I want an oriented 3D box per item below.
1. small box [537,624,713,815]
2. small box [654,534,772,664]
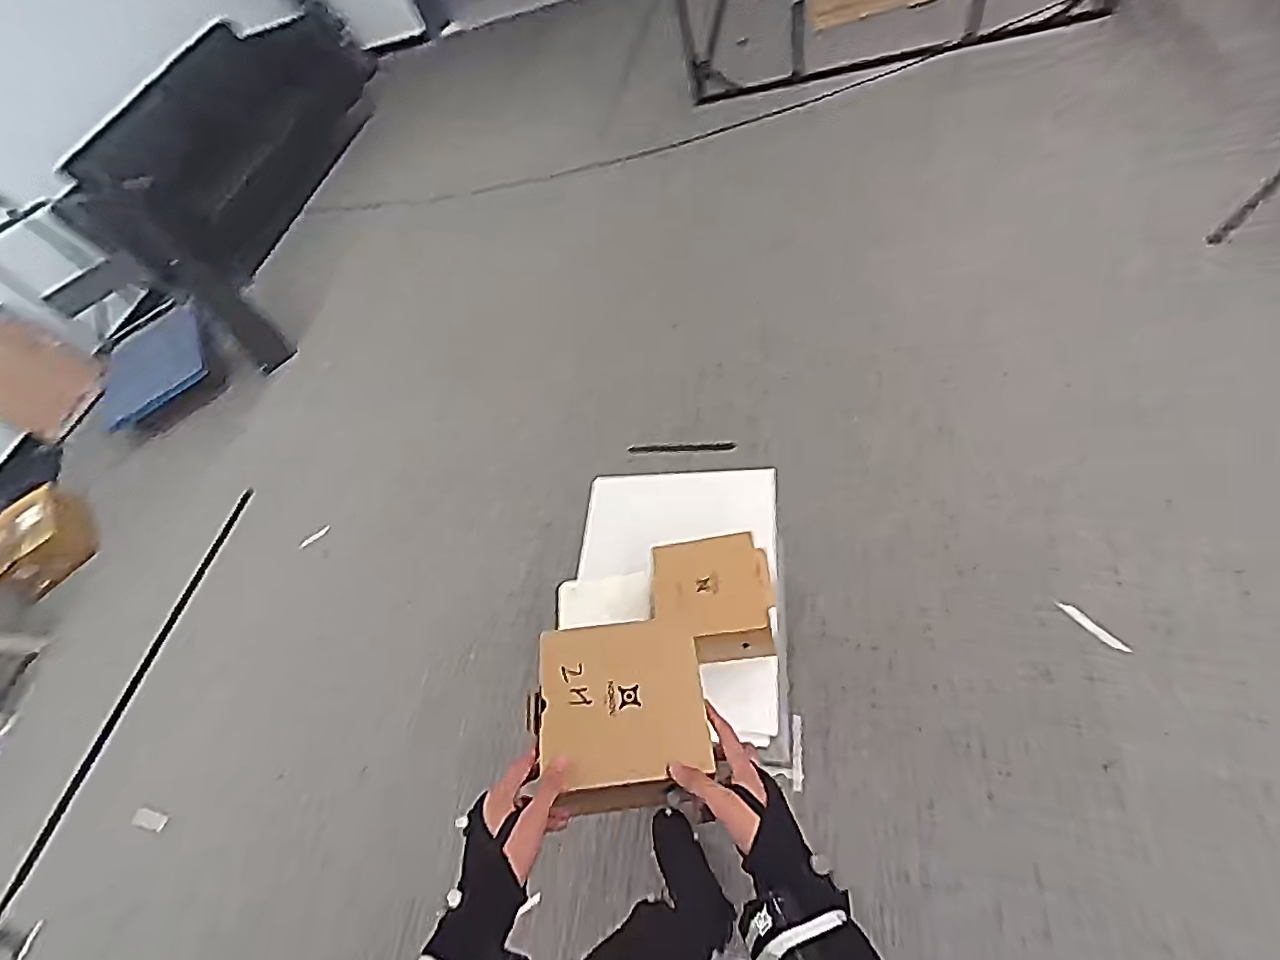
[{"bbox_3d":[-0.018,0.286,0.638,0.179,0.176,0.168,-6,53,-1],"label":"small box"},{"bbox_3d":[0.130,0.211,0.931,0.179,0.176,0.168,-10,56,13],"label":"small box"}]
